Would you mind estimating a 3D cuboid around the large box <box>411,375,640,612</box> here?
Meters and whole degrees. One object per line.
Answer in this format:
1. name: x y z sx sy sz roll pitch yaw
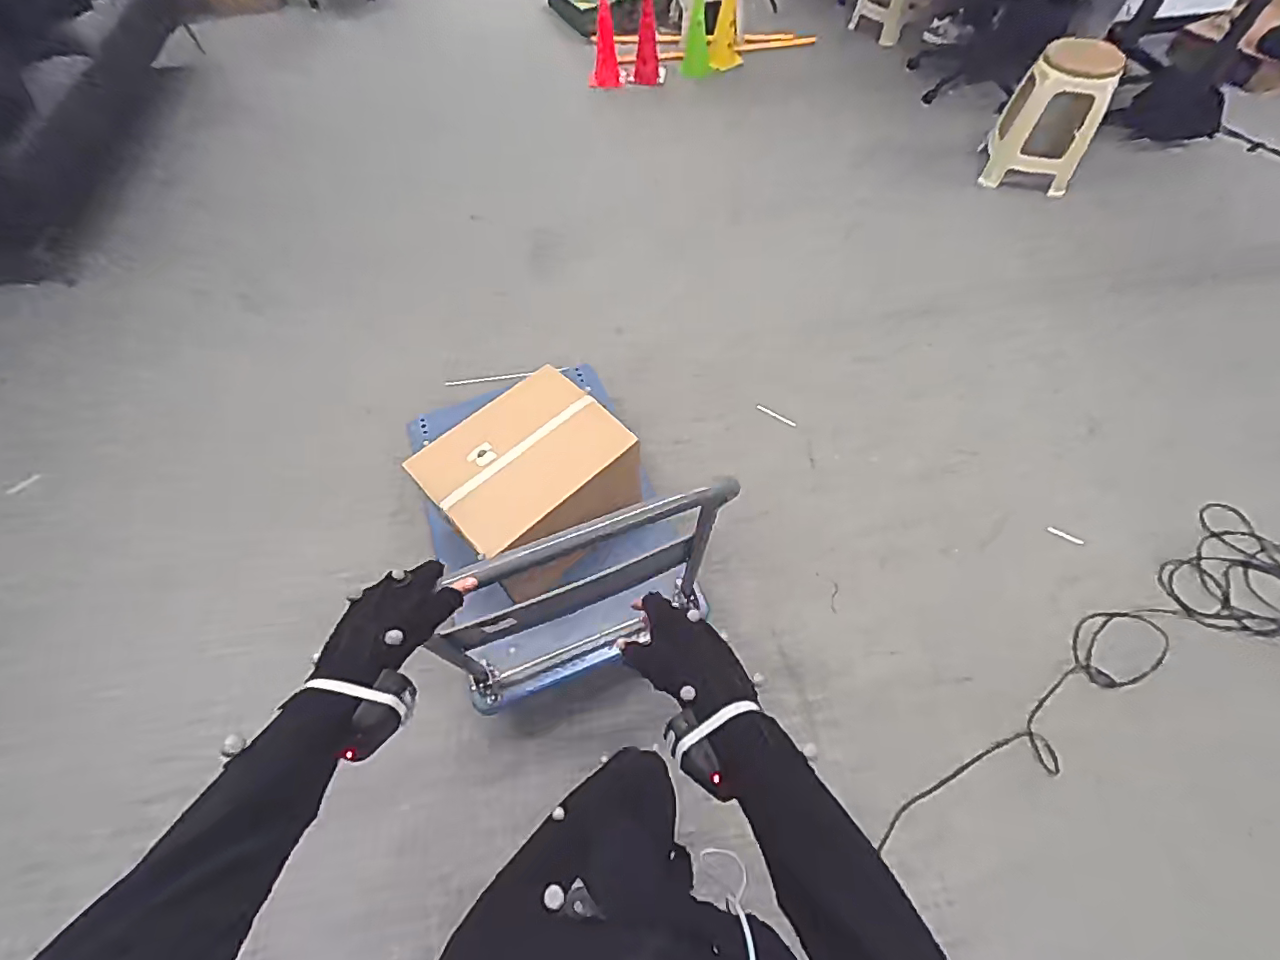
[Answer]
1. large box: -0.243 0.036 1.293 0.320 0.320 0.408 40 68 23
